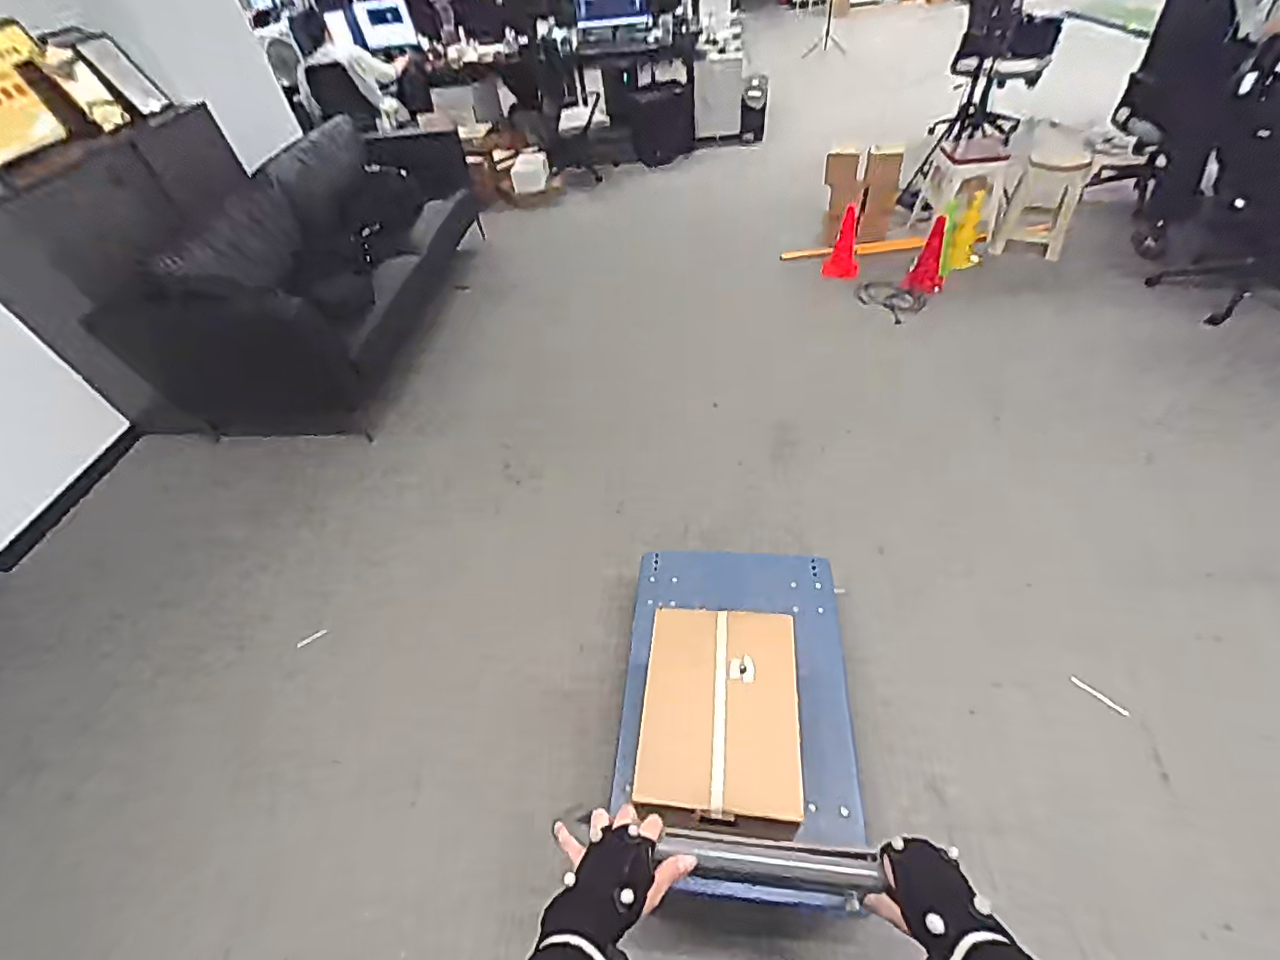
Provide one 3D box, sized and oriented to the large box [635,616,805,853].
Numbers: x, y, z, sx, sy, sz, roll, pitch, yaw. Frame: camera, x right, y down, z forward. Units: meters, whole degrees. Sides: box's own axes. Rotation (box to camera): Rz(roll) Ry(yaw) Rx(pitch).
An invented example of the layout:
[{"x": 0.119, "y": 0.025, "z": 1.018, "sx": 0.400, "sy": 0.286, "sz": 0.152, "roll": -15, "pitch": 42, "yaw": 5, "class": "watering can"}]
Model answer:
[{"x": 0.180, "y": 0.565, "z": 1.217, "sx": 0.320, "sy": 0.320, "sz": 0.408, "roll": 1, "pitch": 46, "yaw": 9, "class": "large box"}]
